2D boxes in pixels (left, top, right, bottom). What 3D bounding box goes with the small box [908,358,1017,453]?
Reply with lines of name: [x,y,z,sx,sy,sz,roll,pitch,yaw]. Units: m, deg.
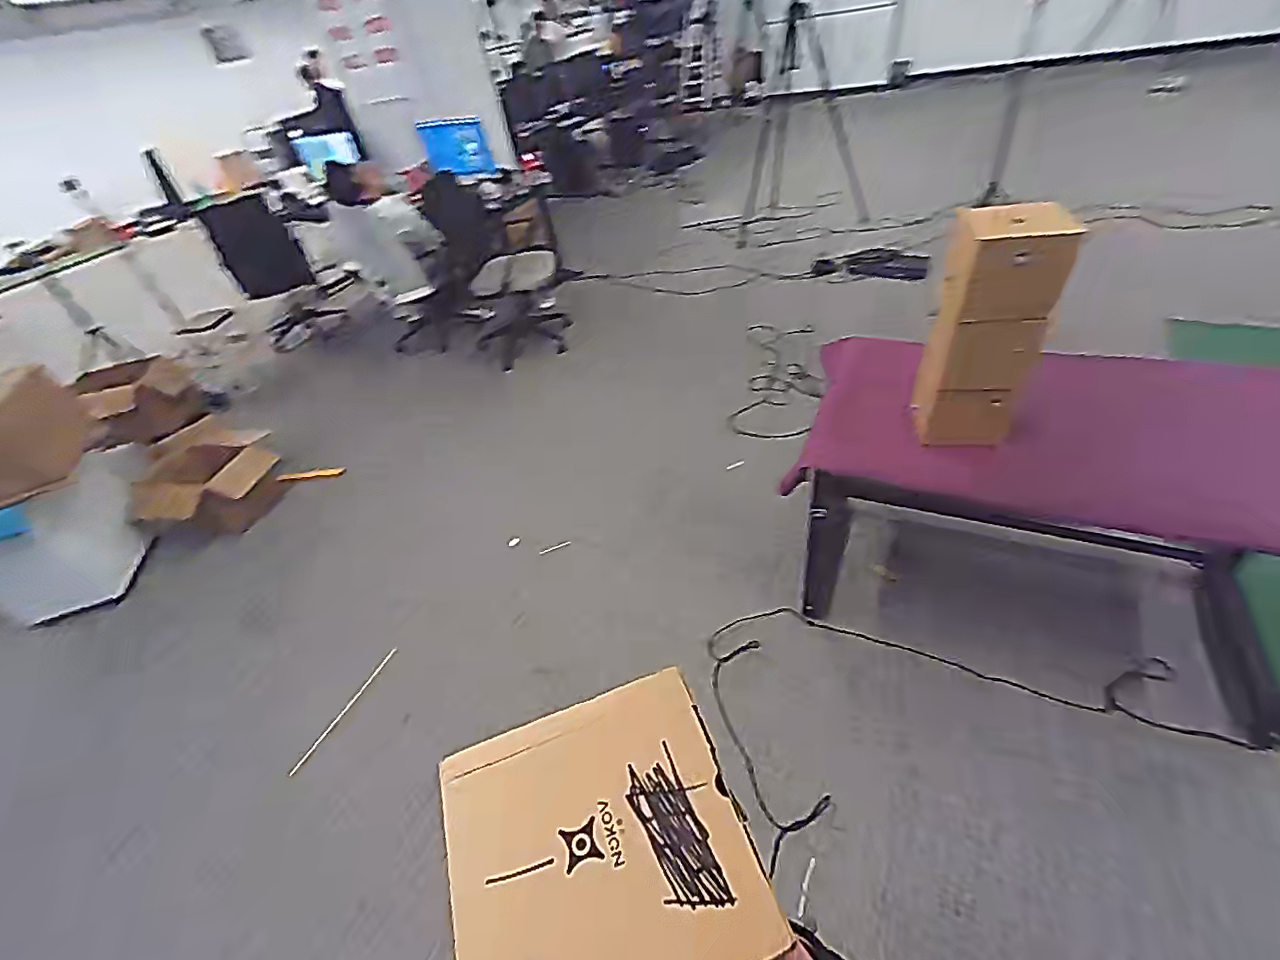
small box: [0.772,-0.180,1.315,0.179,0.176,0.168,2,43,14]

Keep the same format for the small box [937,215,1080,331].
small box: [0.728,-0.415,1.093,0.179,0.176,0.168,1,43,13]

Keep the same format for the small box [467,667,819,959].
small box: [-0.004,0.265,0.380,0.179,0.176,0.168,-17,47,-8]
